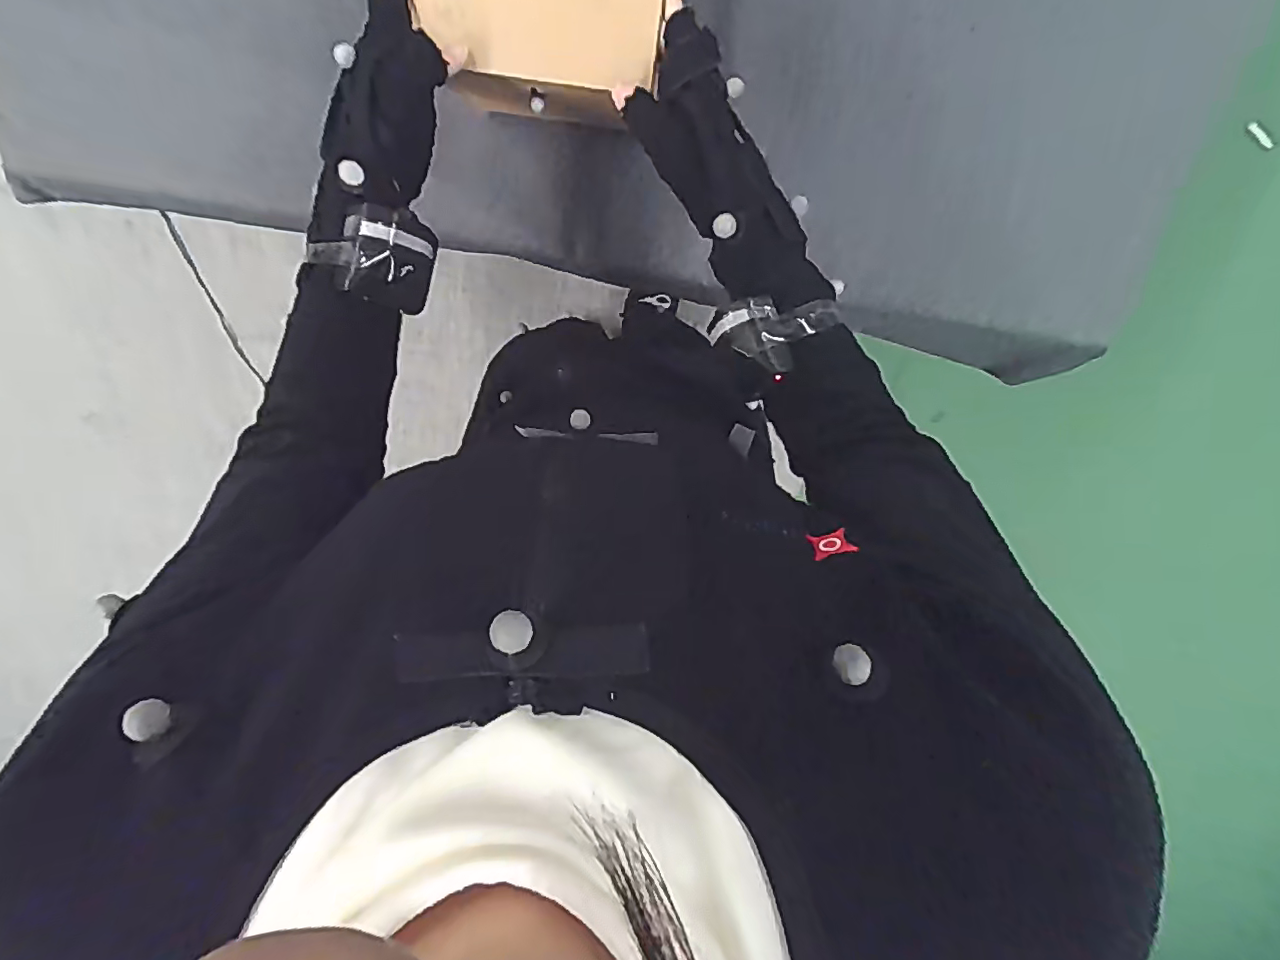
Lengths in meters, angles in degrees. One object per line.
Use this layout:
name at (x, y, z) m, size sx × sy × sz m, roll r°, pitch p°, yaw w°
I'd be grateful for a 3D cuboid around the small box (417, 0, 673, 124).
small box at (-0.062, -0.397, 0.429) m, size 0.179 × 0.176 × 0.168 m, roll 6°, pitch 116°, yaw -1°

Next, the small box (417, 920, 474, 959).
small box at (-0.699, 1.714, 1.927) m, size 0.168 × 0.176 × 0.179 m, roll 7°, pitch 114°, yaw 0°
